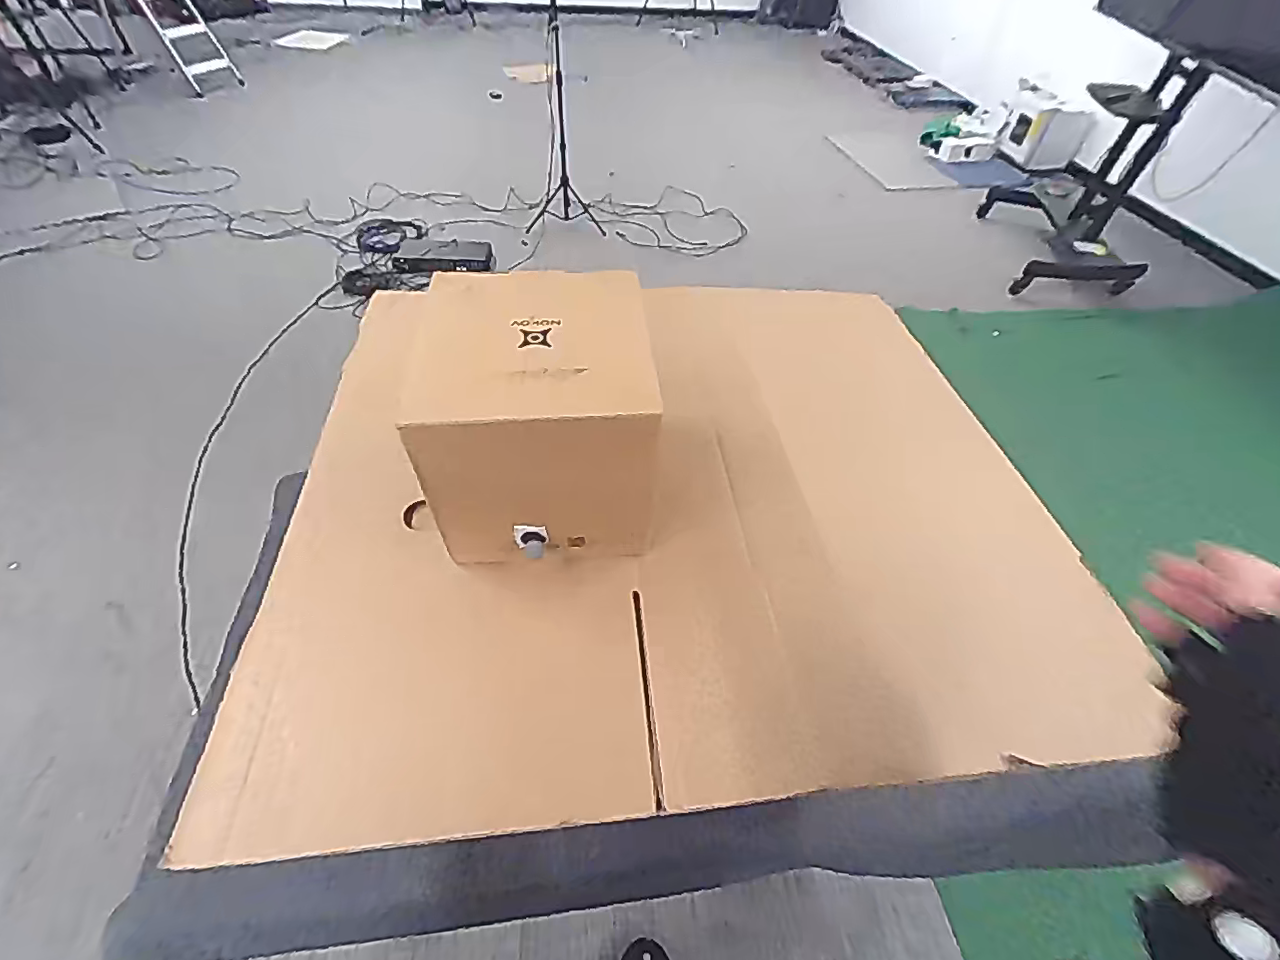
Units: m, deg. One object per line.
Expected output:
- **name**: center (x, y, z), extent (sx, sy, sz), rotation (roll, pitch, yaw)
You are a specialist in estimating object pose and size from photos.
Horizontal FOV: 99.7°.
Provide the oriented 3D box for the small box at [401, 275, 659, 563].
- **small box**: center (-0.080, -0.050, 0.455), extent (0.168, 0.176, 0.179), rotation (-4, 52, -5)
